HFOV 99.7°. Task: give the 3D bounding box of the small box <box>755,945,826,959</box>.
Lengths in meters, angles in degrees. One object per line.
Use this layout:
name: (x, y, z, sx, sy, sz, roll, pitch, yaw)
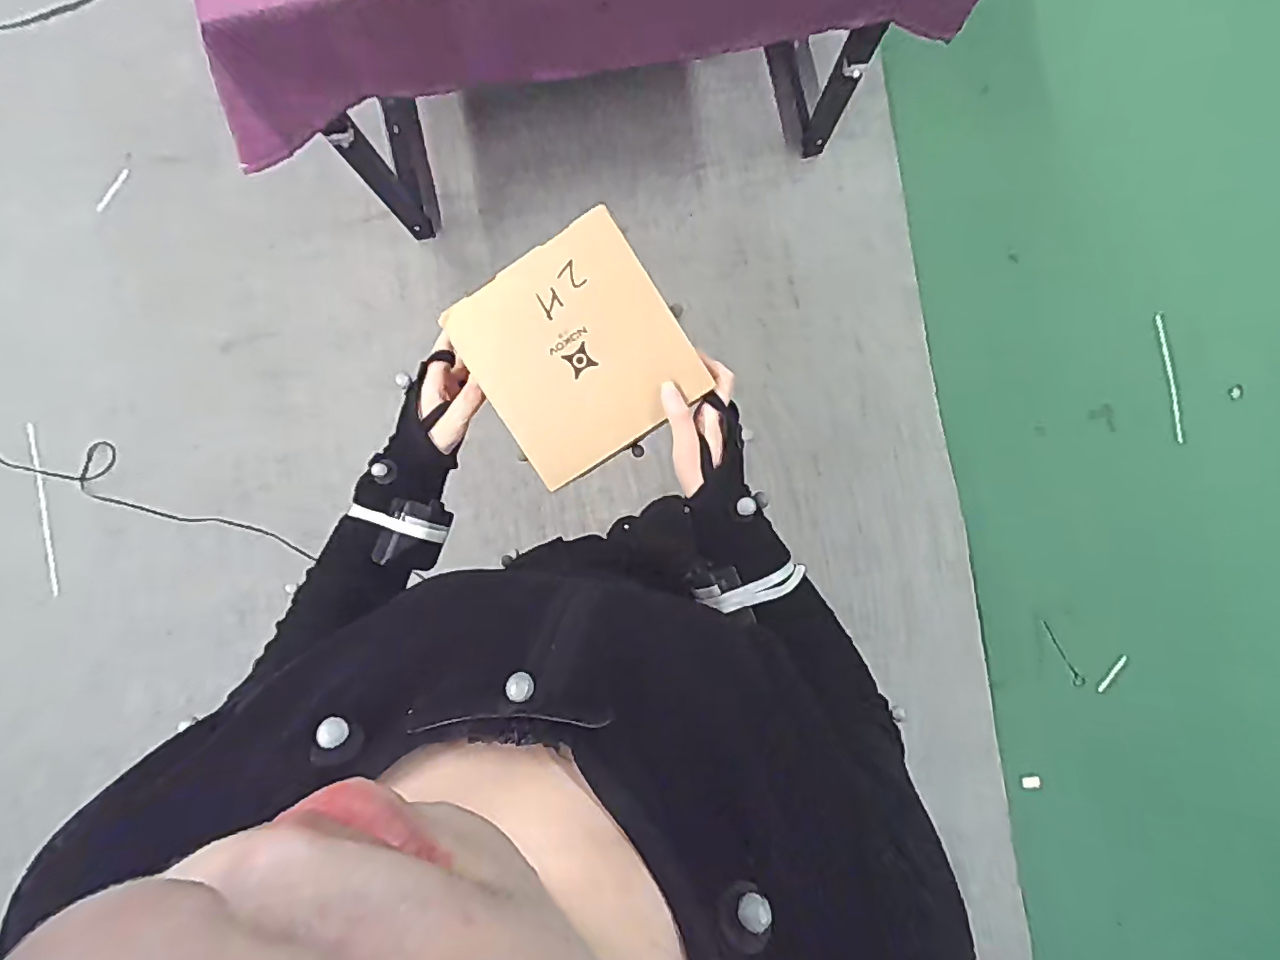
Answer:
small box: (0.328, 1.116, 1.109, 0.179, 0.176, 0.168, -11, 92, -1)
